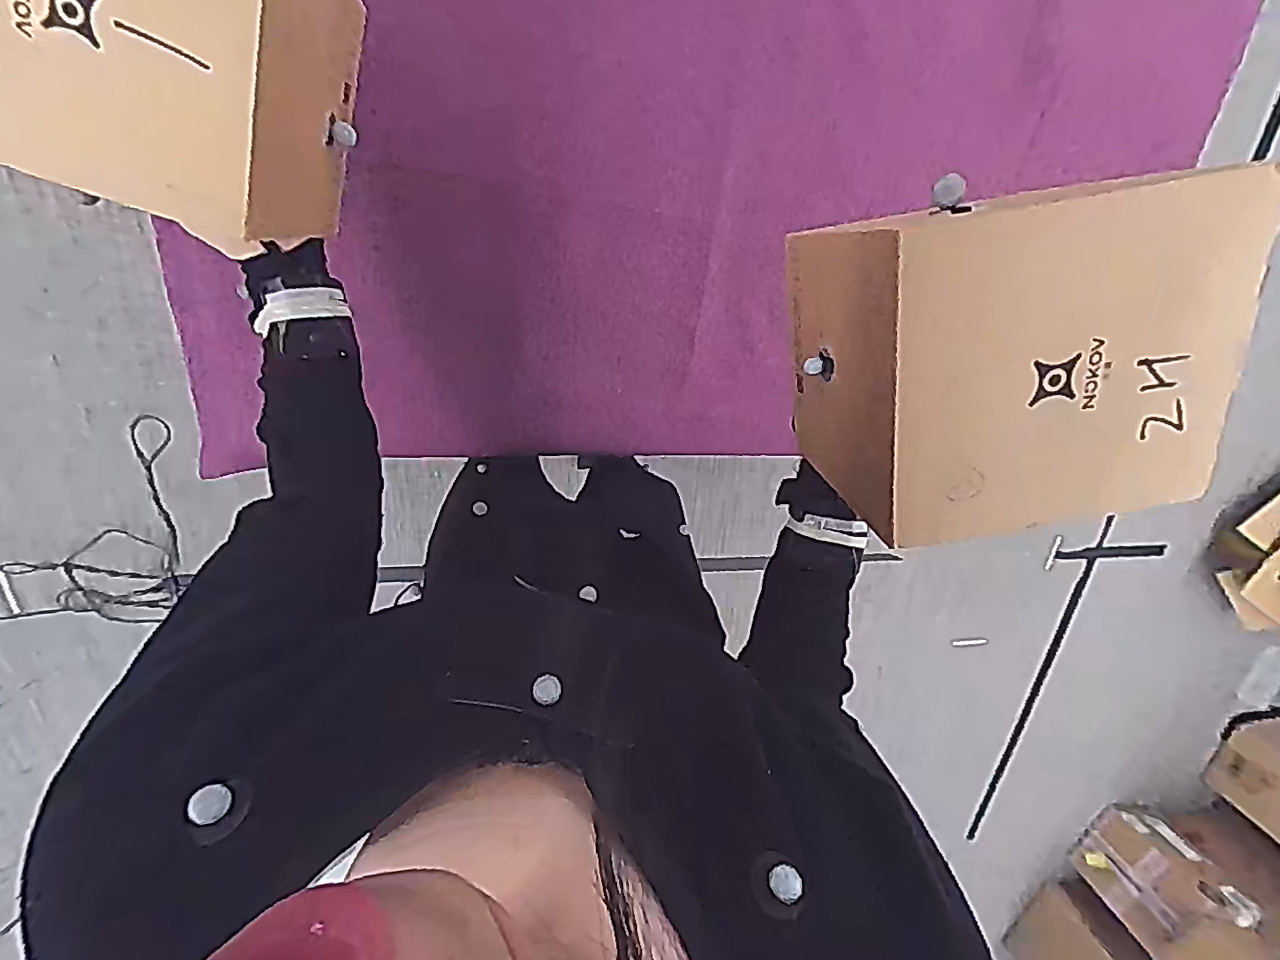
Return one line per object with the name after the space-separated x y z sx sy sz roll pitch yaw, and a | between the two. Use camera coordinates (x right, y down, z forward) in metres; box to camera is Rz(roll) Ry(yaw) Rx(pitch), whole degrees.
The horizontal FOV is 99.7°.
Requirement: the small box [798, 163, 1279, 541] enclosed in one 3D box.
0.206 -0.083 0.341 0.179 0.176 0.168 -10 114 0 | small box

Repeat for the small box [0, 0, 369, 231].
-0.289 -0.264 0.327 0.179 0.176 0.168 14 112 -18 | small box
